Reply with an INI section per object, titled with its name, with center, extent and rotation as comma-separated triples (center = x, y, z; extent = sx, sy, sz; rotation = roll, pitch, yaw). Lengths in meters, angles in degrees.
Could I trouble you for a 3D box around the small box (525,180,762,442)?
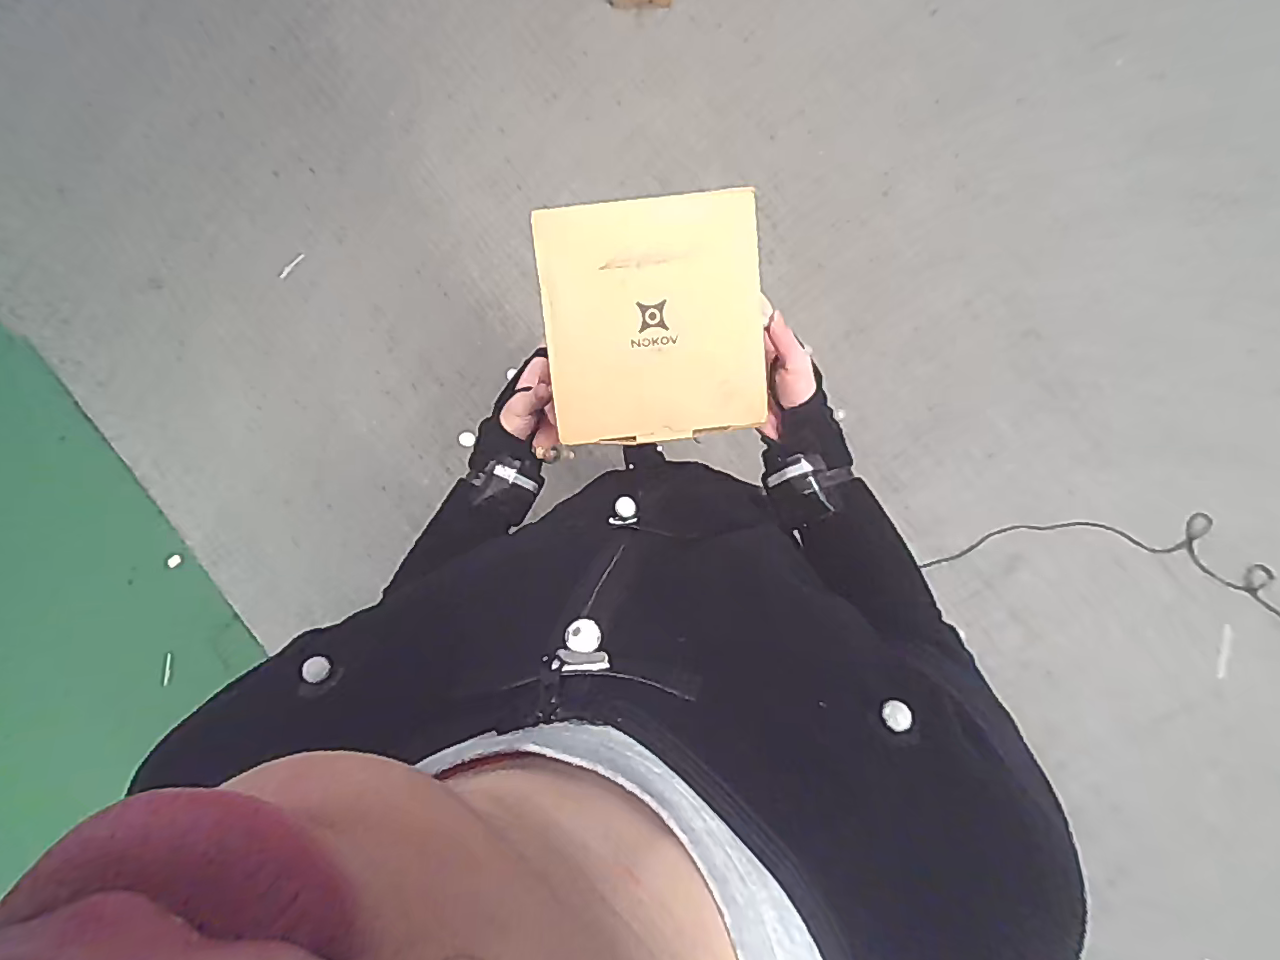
[small box]
center = 0.006, -0.137, 0.482
extent = 0.168, 0.176, 0.179
rotation = -7, 99, 0
